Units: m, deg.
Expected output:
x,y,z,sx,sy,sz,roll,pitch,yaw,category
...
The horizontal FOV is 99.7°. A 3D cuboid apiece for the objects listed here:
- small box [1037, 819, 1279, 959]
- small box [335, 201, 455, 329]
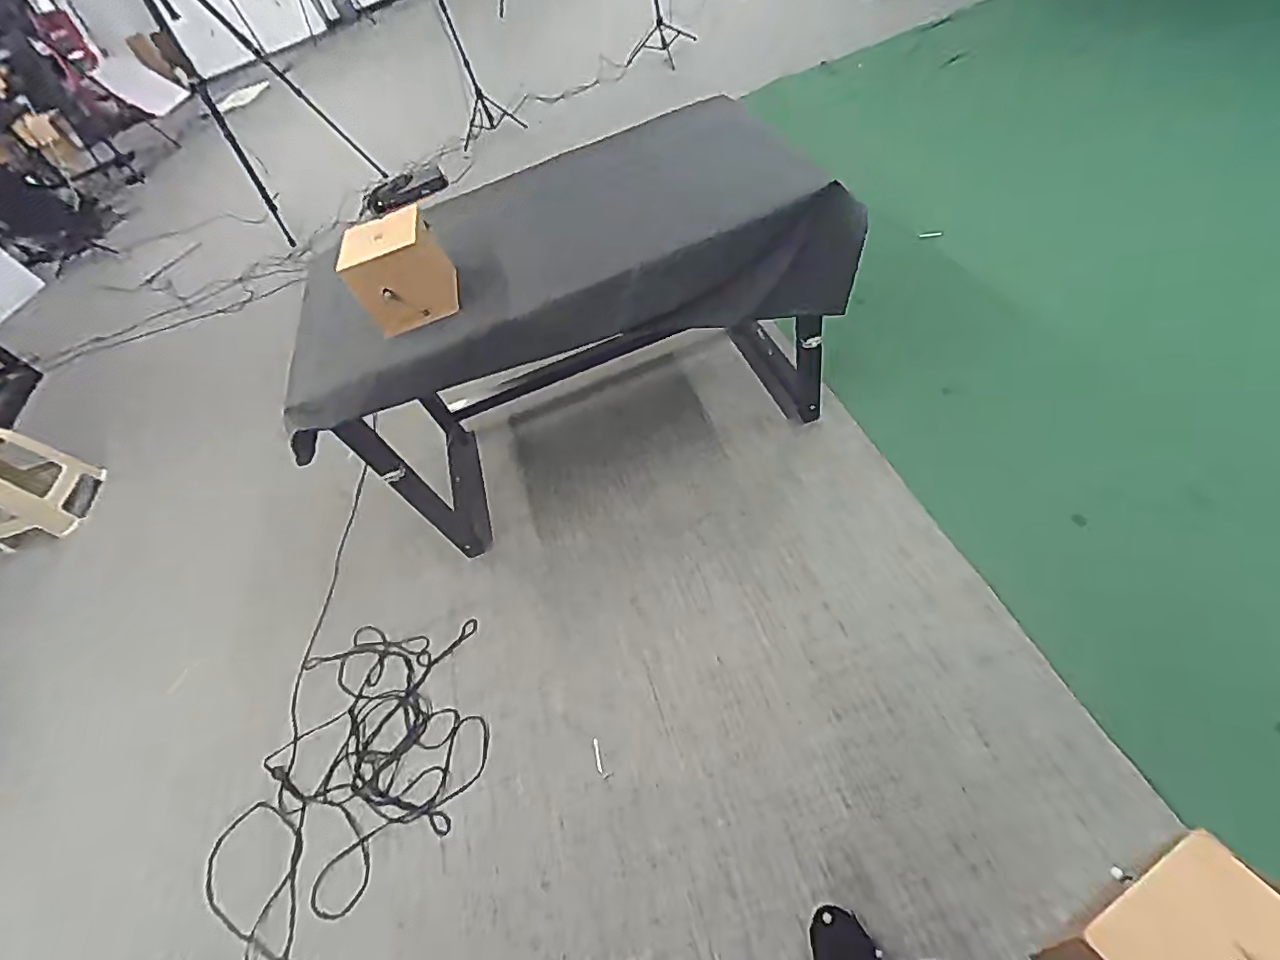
x,y,z,sx,sy,sz,roll,pitch,yaw,category
0.521,0.466,0.505,0.179,0.176,0.168,-27,43,-13,small box
-0.502,-0.440,1.132,0.168,0.176,0.179,-20,51,2,small box
